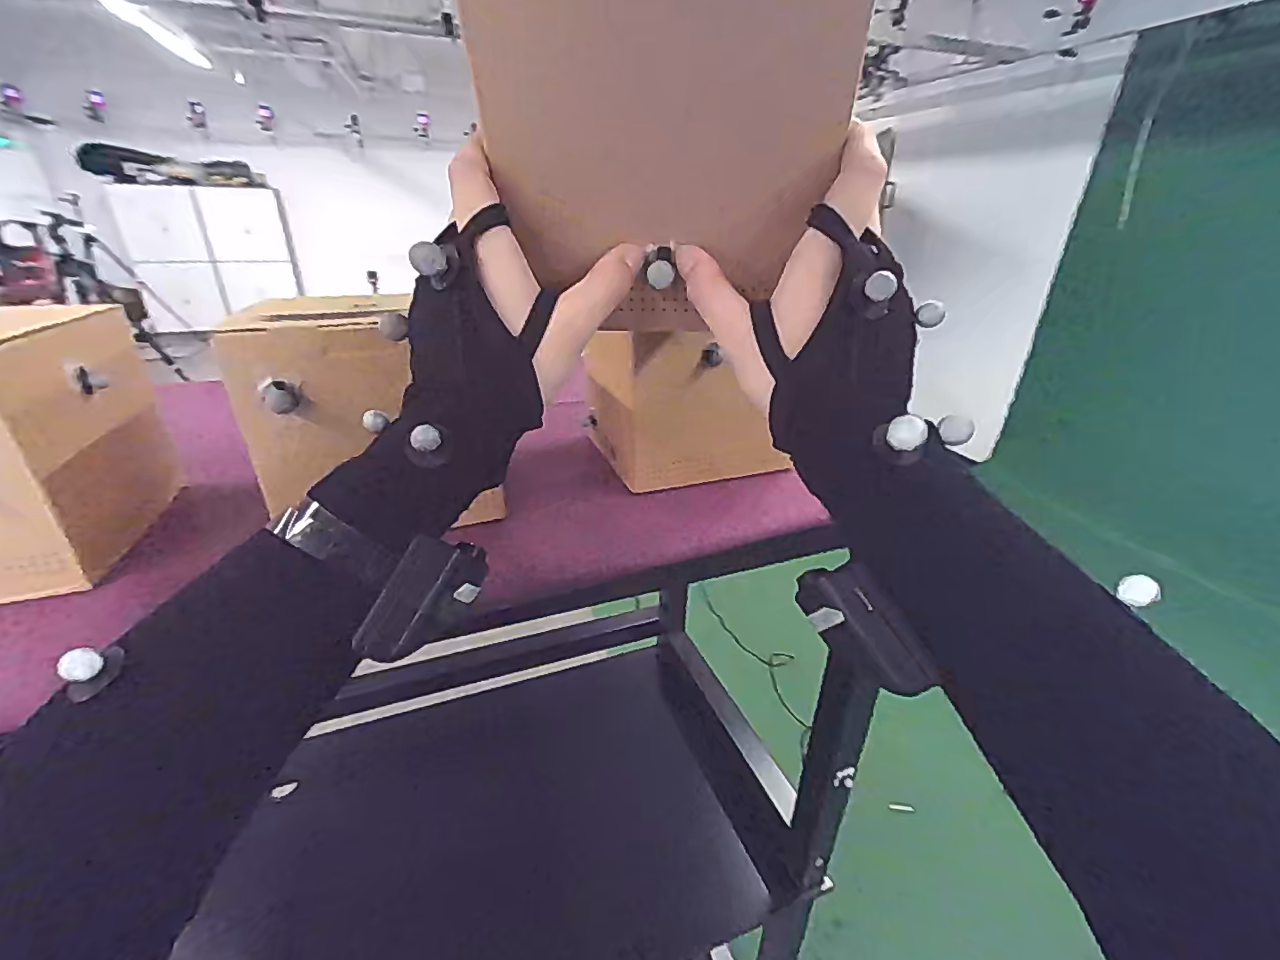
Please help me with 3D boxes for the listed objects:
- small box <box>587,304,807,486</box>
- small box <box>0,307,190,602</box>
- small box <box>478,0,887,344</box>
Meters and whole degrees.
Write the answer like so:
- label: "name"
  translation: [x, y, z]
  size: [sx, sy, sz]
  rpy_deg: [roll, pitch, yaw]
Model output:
- label: "small box"
  translation: [0.048, -0.104, 0.569]
  size: [0.179, 0.176, 0.168]
  rpy_deg: [-8, 27, -19]
- label: "small box"
  translation: [-0.466, -0.021, 0.384]
  size: [0.168, 0.176, 0.179]
  rpy_deg: [-7, 27, -18]
- label: "small box"
  translation: [0.023, -0.199, 0.338]
  size: [0.179, 0.176, 0.168]
  rpy_deg: [2, 44, 4]
